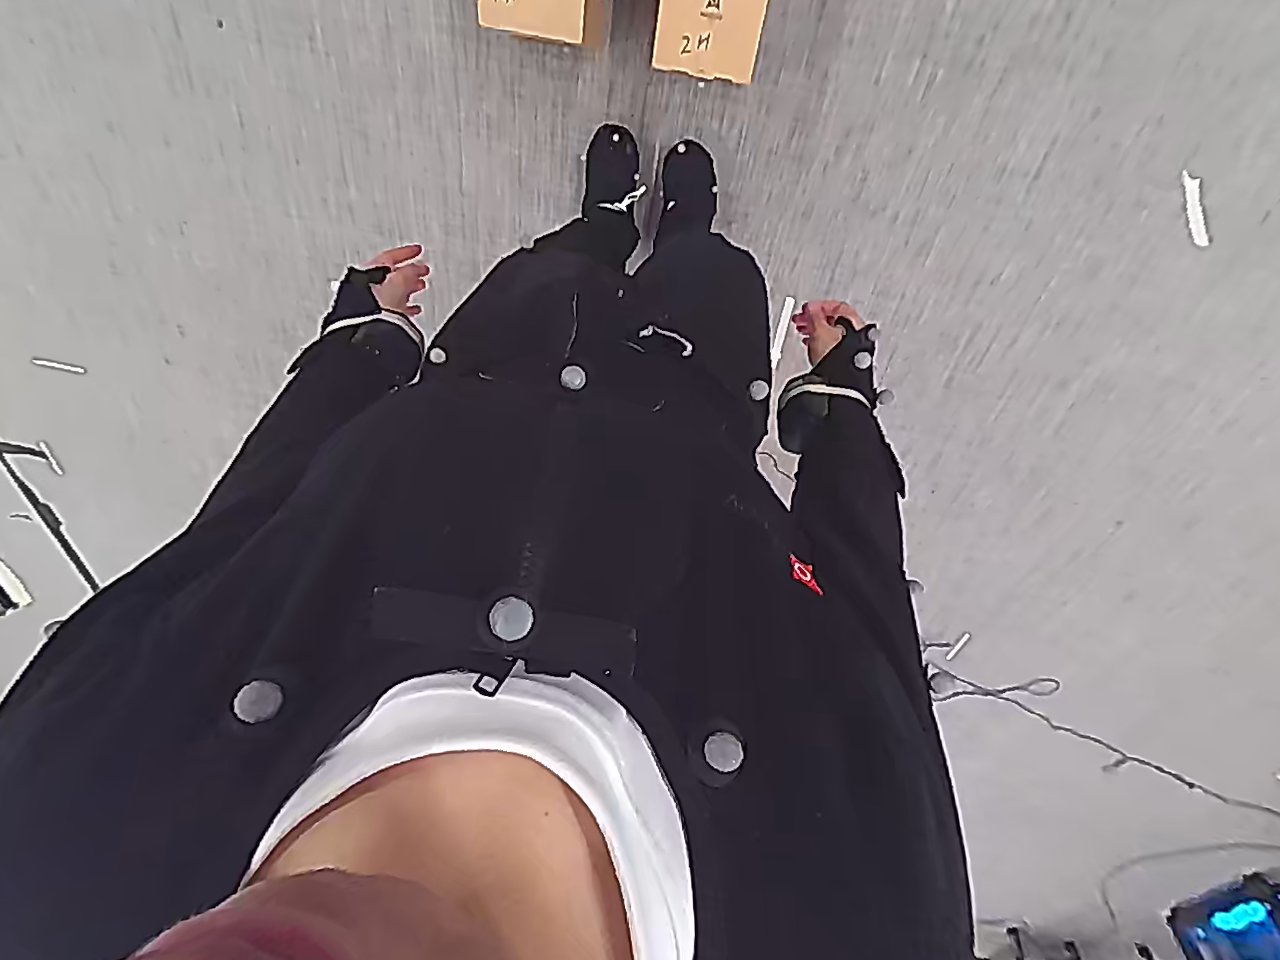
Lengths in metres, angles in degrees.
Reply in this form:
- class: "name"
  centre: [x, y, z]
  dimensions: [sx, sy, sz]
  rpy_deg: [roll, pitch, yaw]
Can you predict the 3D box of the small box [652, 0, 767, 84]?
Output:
- class: "small box"
  centre: [0.121, -0.782, 0.901]
  dimensions: [0.168, 0.176, 0.179]
  rpy_deg: [11, 127, 1]
